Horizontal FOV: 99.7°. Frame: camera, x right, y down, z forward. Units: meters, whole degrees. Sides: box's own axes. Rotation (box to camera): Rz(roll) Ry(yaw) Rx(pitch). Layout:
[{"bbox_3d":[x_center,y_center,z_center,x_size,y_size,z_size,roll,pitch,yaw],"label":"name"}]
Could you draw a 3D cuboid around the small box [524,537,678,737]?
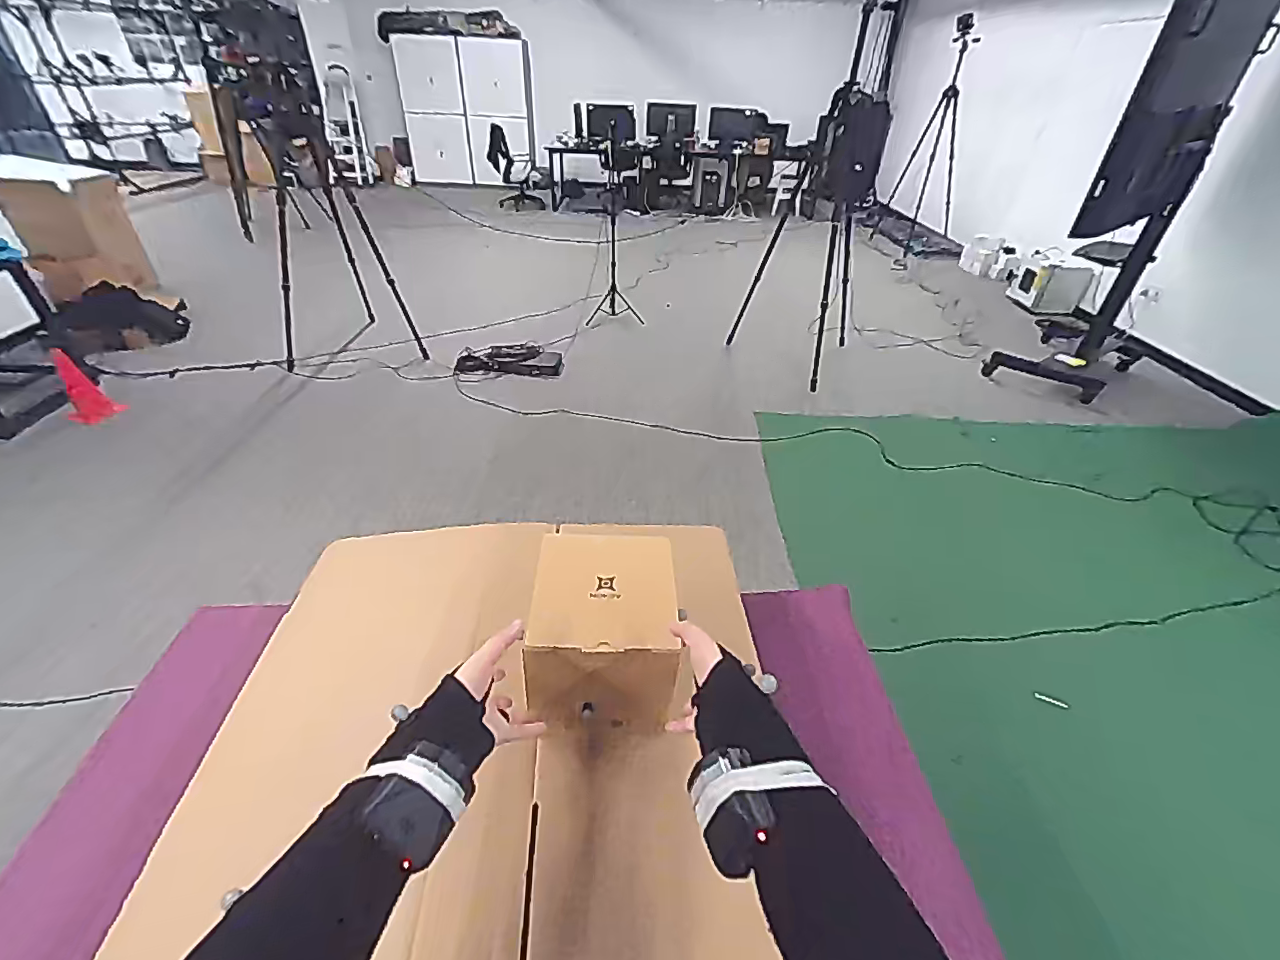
[{"bbox_3d":[-0.048,0.194,0.678,0.168,0.176,0.179,2,38,-4],"label":"small box"}]
